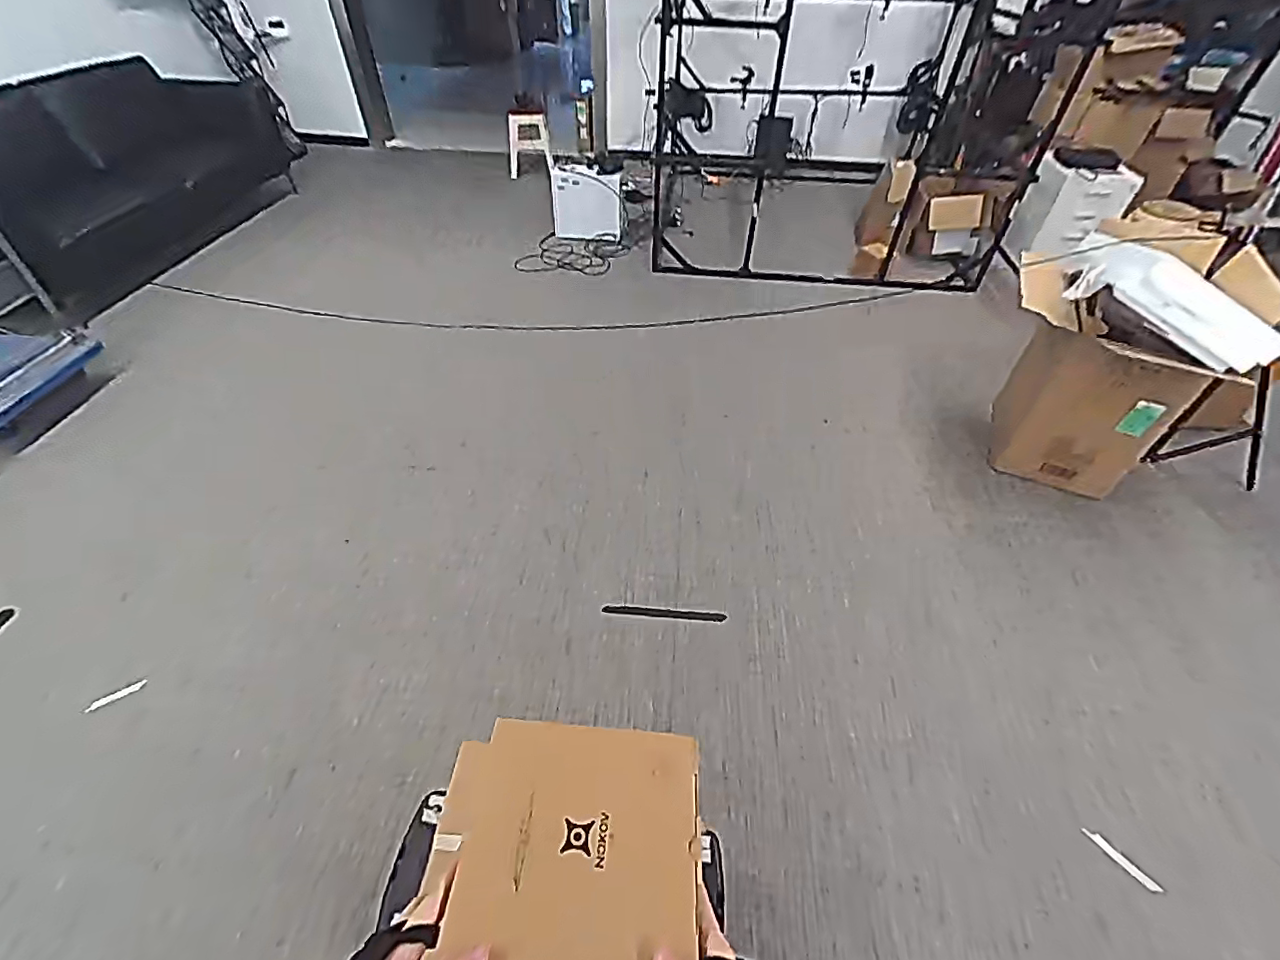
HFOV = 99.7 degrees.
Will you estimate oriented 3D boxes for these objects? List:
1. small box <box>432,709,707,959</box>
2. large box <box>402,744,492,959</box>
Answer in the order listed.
[{"bbox_3d":[-0.042,0.316,0.449,0.179,0.176,0.168,5,42,2],"label":"small box"},{"bbox_3d":[-0.126,0.692,0.952,0.408,0.320,0.320,4,45,3],"label":"large box"}]
